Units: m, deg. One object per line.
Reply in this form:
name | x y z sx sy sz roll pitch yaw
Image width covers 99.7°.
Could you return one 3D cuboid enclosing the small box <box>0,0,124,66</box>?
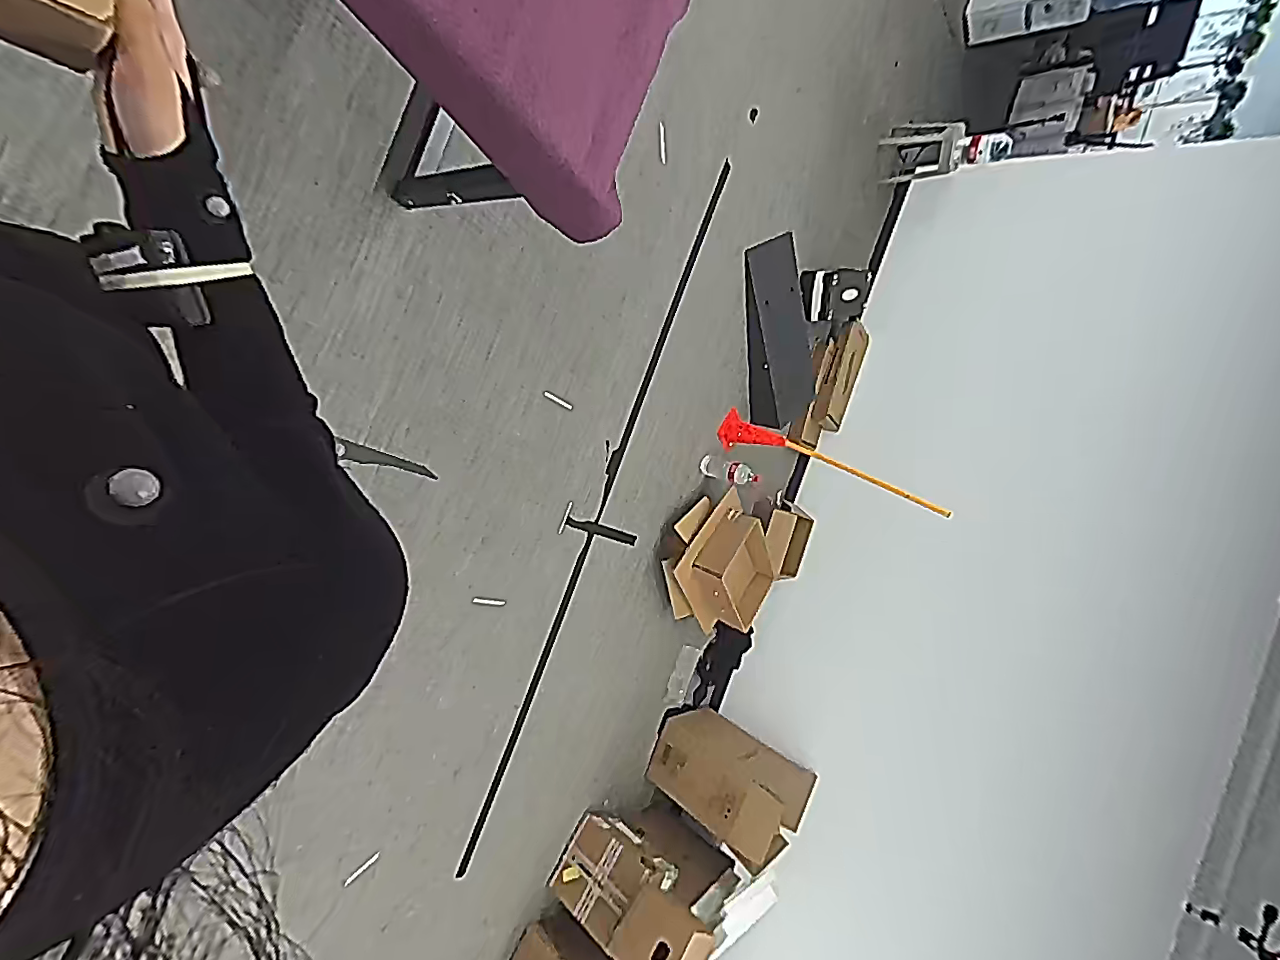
small box | -0.338 -0.322 0.235 0.168 0.176 0.179 1 111 -49
